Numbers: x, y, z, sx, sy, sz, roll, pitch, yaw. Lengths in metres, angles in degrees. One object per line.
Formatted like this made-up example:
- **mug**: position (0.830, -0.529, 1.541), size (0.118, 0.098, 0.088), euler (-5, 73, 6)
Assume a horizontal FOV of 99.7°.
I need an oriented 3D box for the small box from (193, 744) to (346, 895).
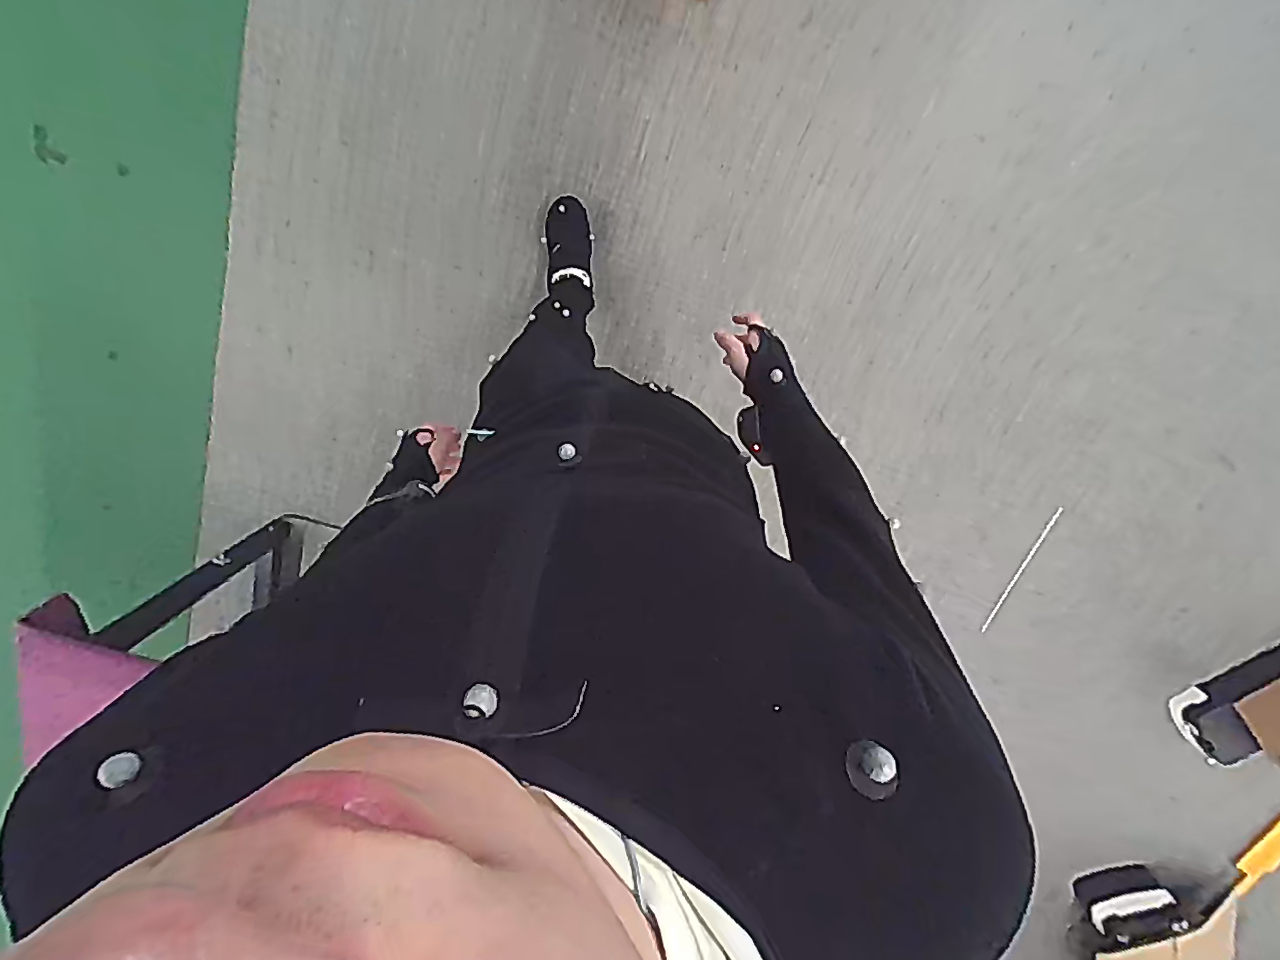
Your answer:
- **small box**: position (-0.688, 0.631, 1.021), size (0.179, 0.176, 0.168), euler (11, 111, -4)
